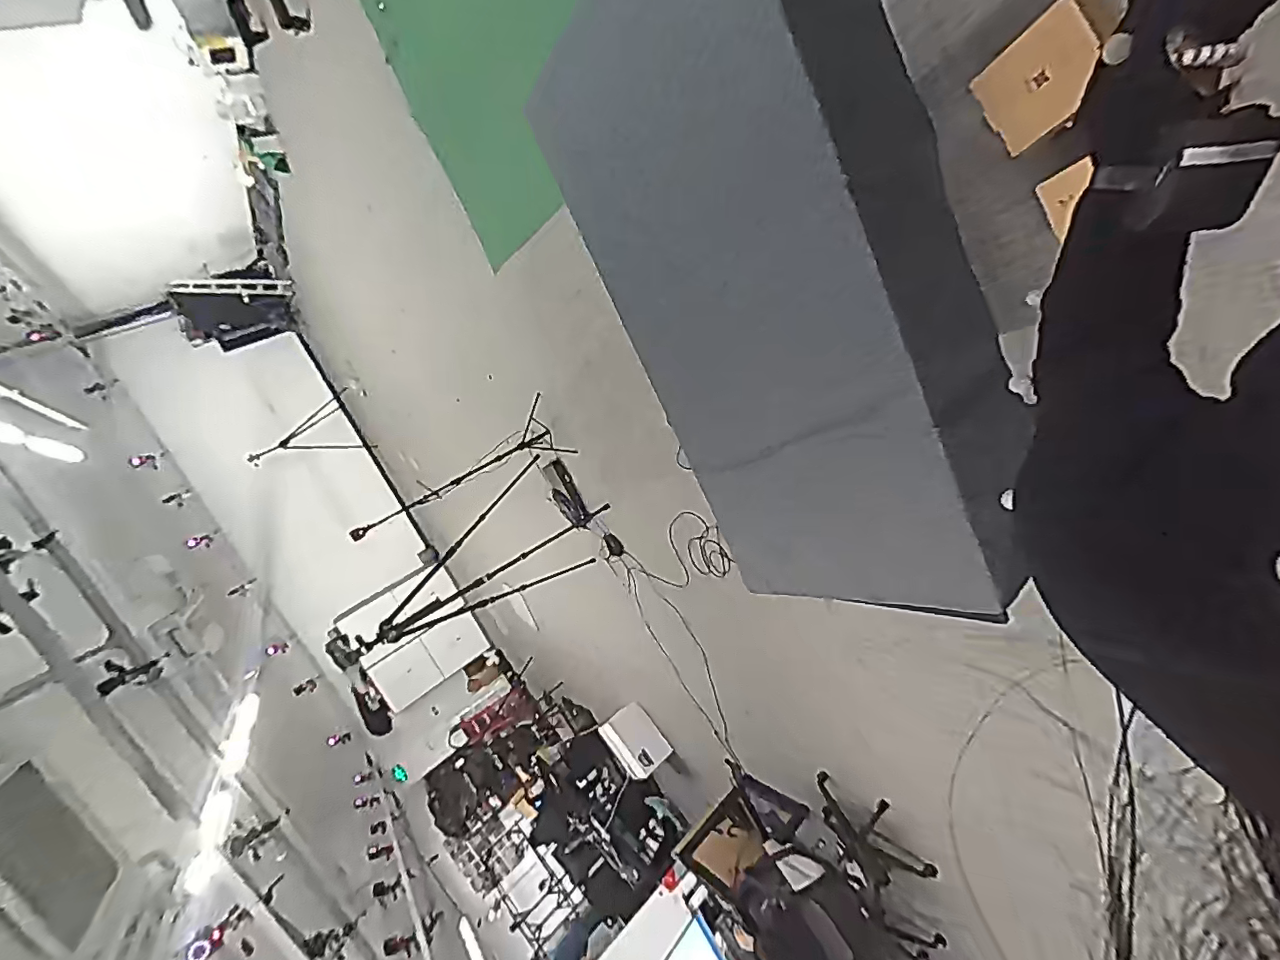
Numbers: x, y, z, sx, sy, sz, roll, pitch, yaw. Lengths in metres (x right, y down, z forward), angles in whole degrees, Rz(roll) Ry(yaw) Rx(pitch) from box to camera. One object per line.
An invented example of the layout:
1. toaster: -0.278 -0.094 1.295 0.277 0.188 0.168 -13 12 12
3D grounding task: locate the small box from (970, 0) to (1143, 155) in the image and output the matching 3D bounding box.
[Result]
1. small box: 0.765 -0.747 0.996 0.168 0.176 0.179 57 151 -2
